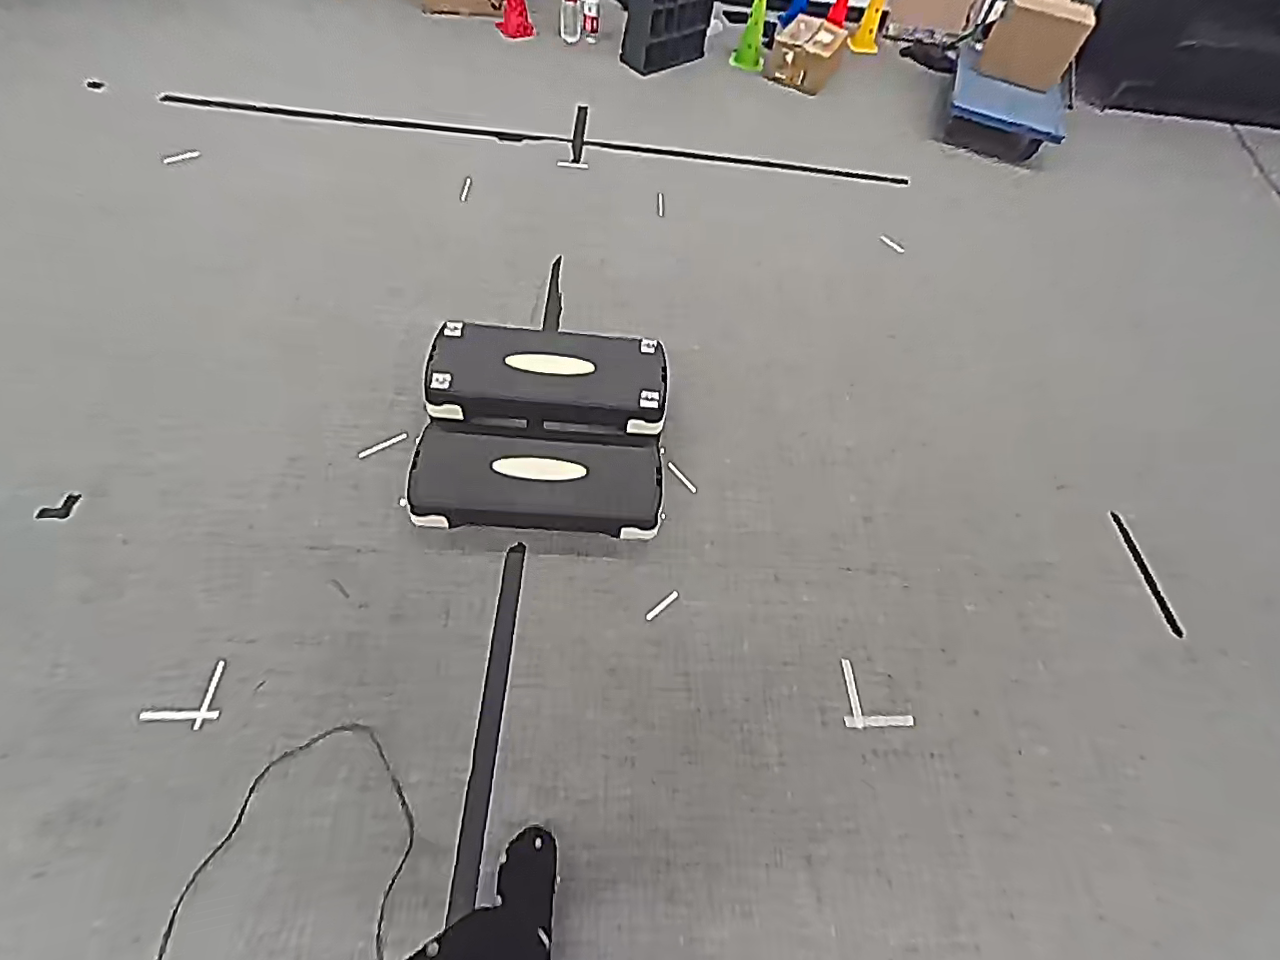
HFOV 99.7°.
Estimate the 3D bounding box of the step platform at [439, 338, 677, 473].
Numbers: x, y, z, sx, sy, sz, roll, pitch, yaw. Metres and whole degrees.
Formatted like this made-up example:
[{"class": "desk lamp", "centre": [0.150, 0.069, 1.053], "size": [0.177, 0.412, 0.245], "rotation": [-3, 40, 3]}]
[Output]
[{"class": "step platform", "centre": [-0.232, -0.222, 1.608], "size": [0.684, 0.204, 0.286], "rotation": [8, 57, -3]}]
